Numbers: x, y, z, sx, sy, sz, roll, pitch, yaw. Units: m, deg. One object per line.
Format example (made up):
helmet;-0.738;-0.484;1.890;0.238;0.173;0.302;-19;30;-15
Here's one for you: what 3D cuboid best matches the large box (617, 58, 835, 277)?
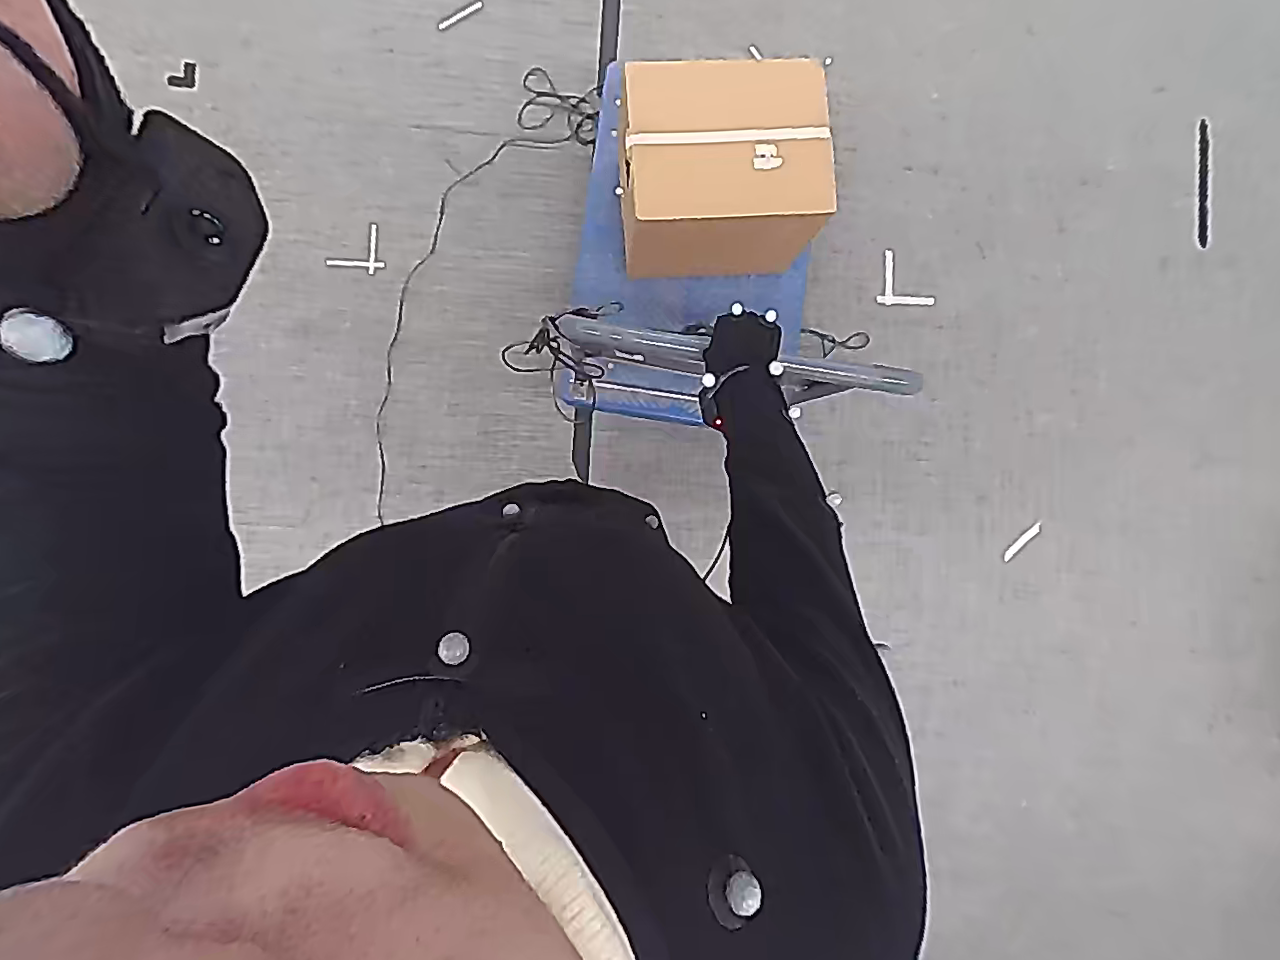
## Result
large box;0.166;-0.671;1.207;0.408;0.320;0.320;-4;90;-5
